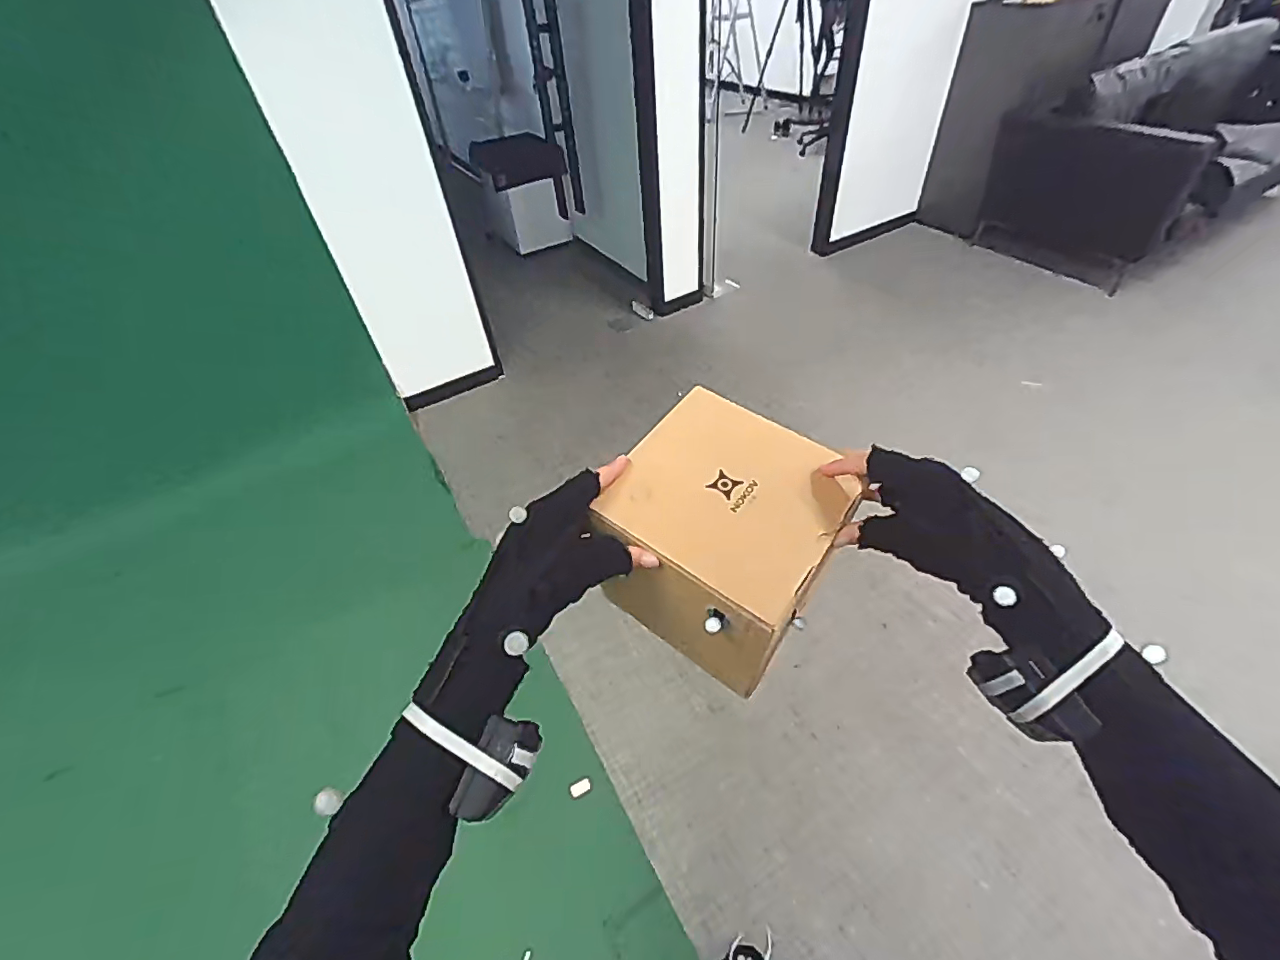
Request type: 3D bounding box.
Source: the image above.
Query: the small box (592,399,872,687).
[{"bbox_3d":[0.078,0.062,0.506,0.179,0.176,0.168,31,60,23],"label":"small box"}]
